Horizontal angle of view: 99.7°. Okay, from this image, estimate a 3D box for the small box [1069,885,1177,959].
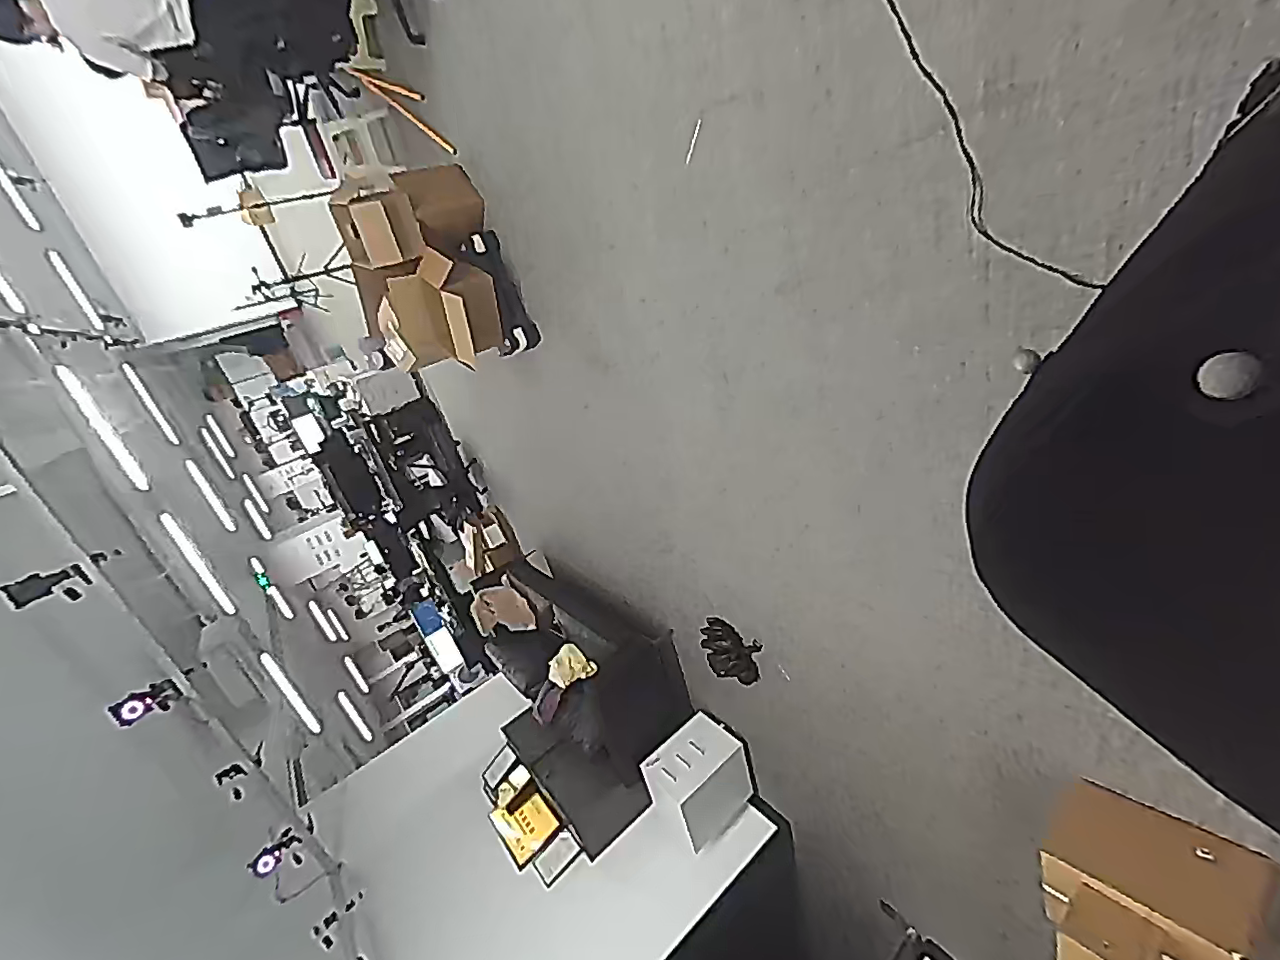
[{"bbox_3d":[1.251,1.214,1.401,0.179,0.176,0.168,13,125,55],"label":"small box"}]
